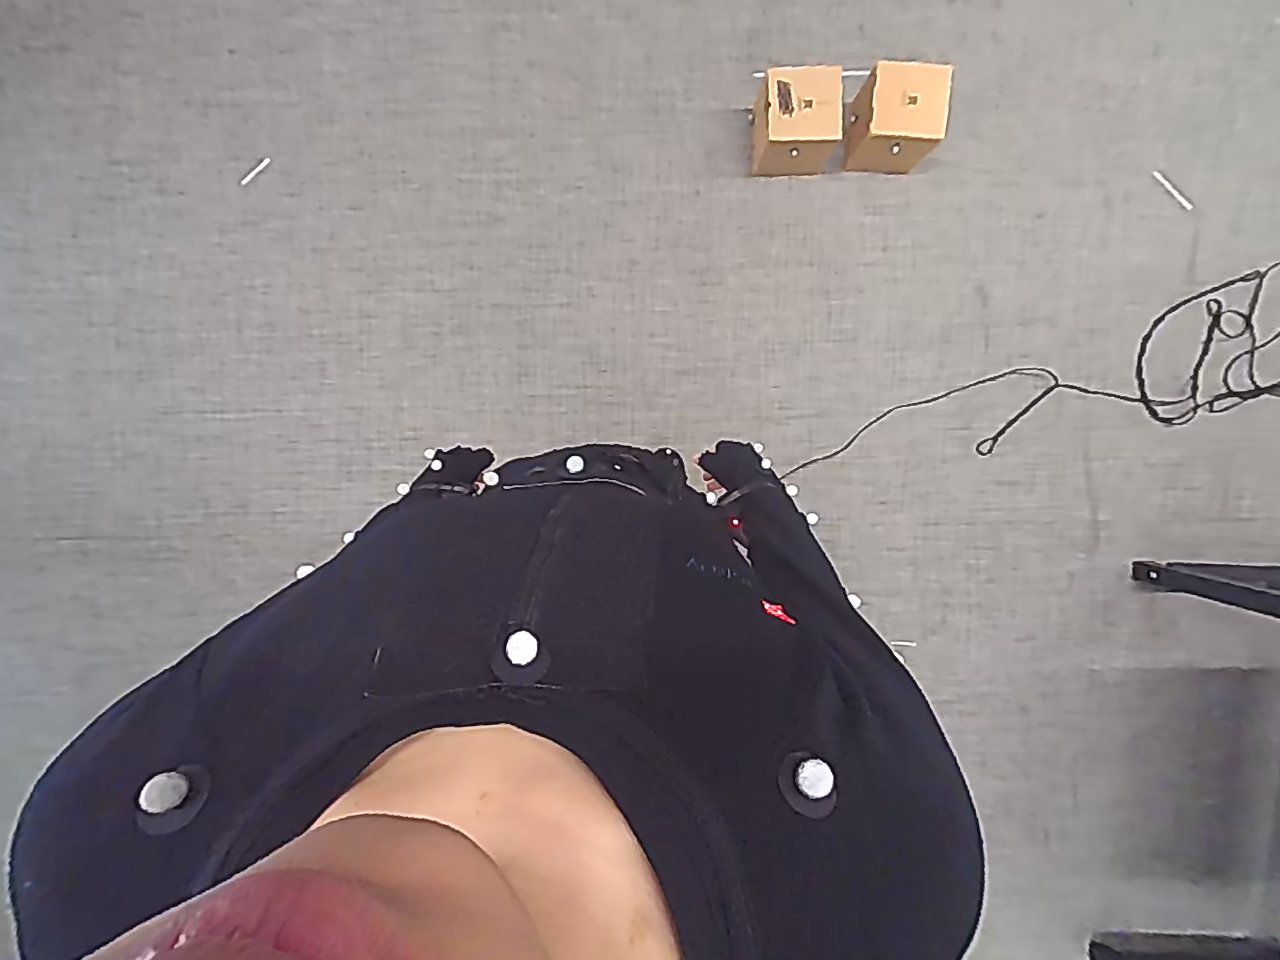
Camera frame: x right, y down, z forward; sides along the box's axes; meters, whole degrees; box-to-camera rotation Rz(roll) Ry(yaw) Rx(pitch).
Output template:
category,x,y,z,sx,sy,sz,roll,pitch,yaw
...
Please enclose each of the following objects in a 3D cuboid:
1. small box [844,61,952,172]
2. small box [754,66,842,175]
category,x,y,z,sx,sy,sz,roll,pitch,yaw
small box,0.625,-0.882,1.326,0.179,0.176,0.168,4,95,1
small box,0.379,-0.874,1.328,0.179,0.176,0.168,-1,94,0
